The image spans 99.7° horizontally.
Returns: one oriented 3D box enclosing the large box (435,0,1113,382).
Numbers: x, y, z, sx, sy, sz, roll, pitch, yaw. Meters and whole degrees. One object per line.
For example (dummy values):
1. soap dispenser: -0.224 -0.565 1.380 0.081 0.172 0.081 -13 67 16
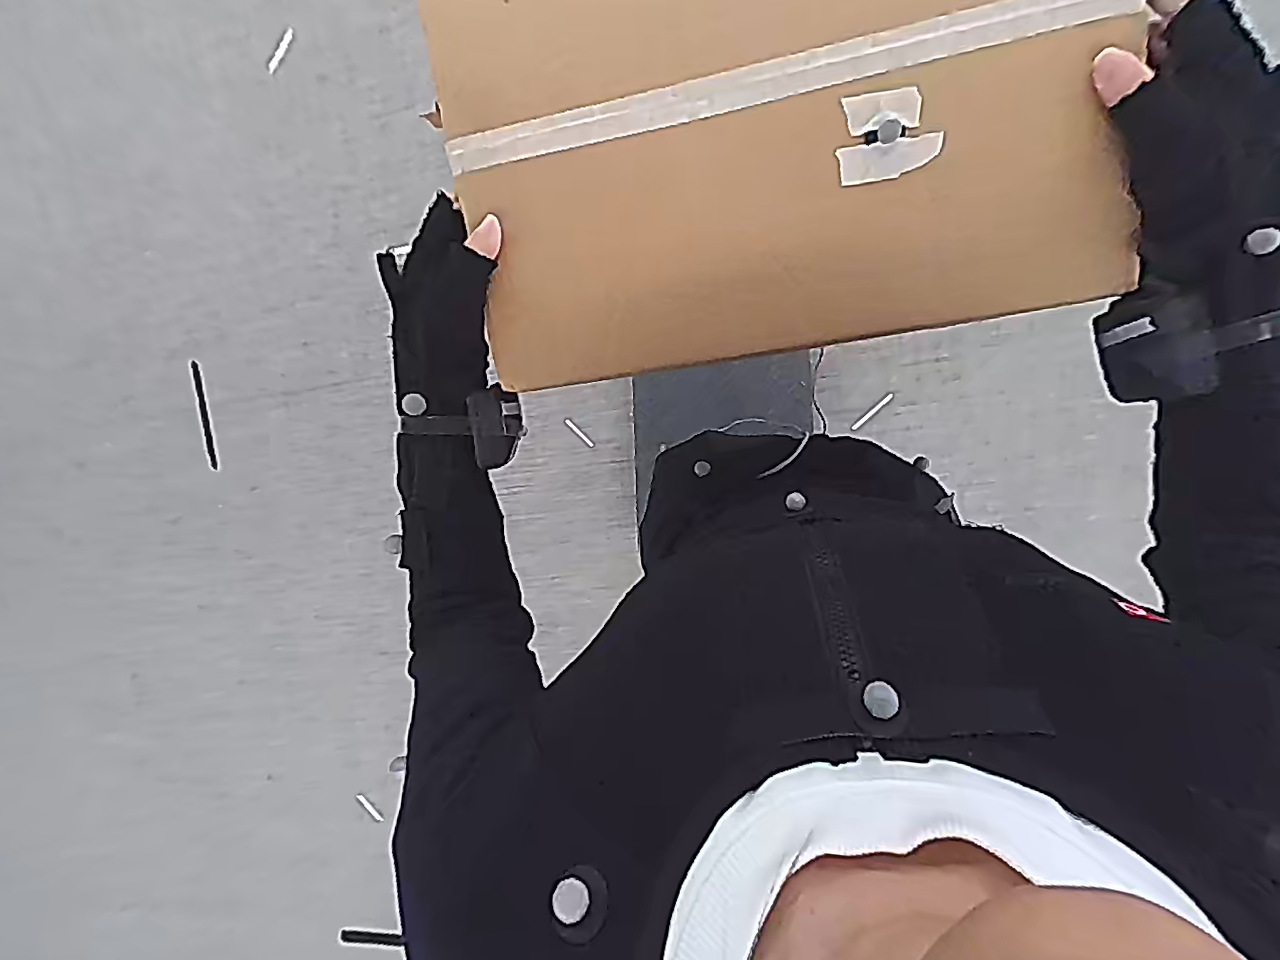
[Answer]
1. large box: 0.093 -0.279 0.485 0.408 0.320 0.320 -8 102 9
